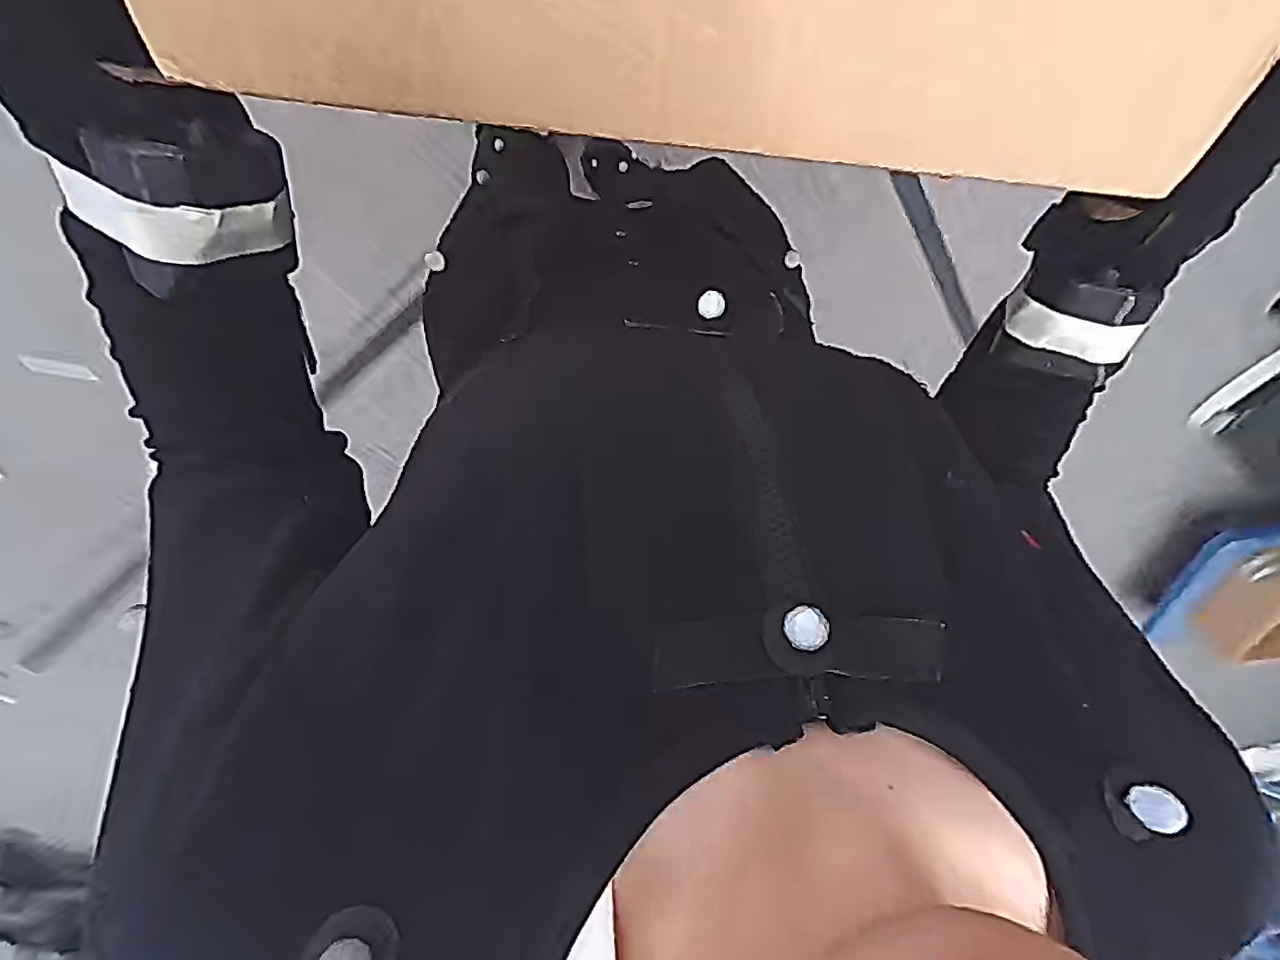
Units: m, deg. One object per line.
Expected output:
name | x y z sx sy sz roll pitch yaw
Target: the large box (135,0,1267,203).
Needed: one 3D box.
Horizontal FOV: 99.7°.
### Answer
large box | 0.033 -0.340 0.213 0.408 0.320 0.320 -1 138 -9
